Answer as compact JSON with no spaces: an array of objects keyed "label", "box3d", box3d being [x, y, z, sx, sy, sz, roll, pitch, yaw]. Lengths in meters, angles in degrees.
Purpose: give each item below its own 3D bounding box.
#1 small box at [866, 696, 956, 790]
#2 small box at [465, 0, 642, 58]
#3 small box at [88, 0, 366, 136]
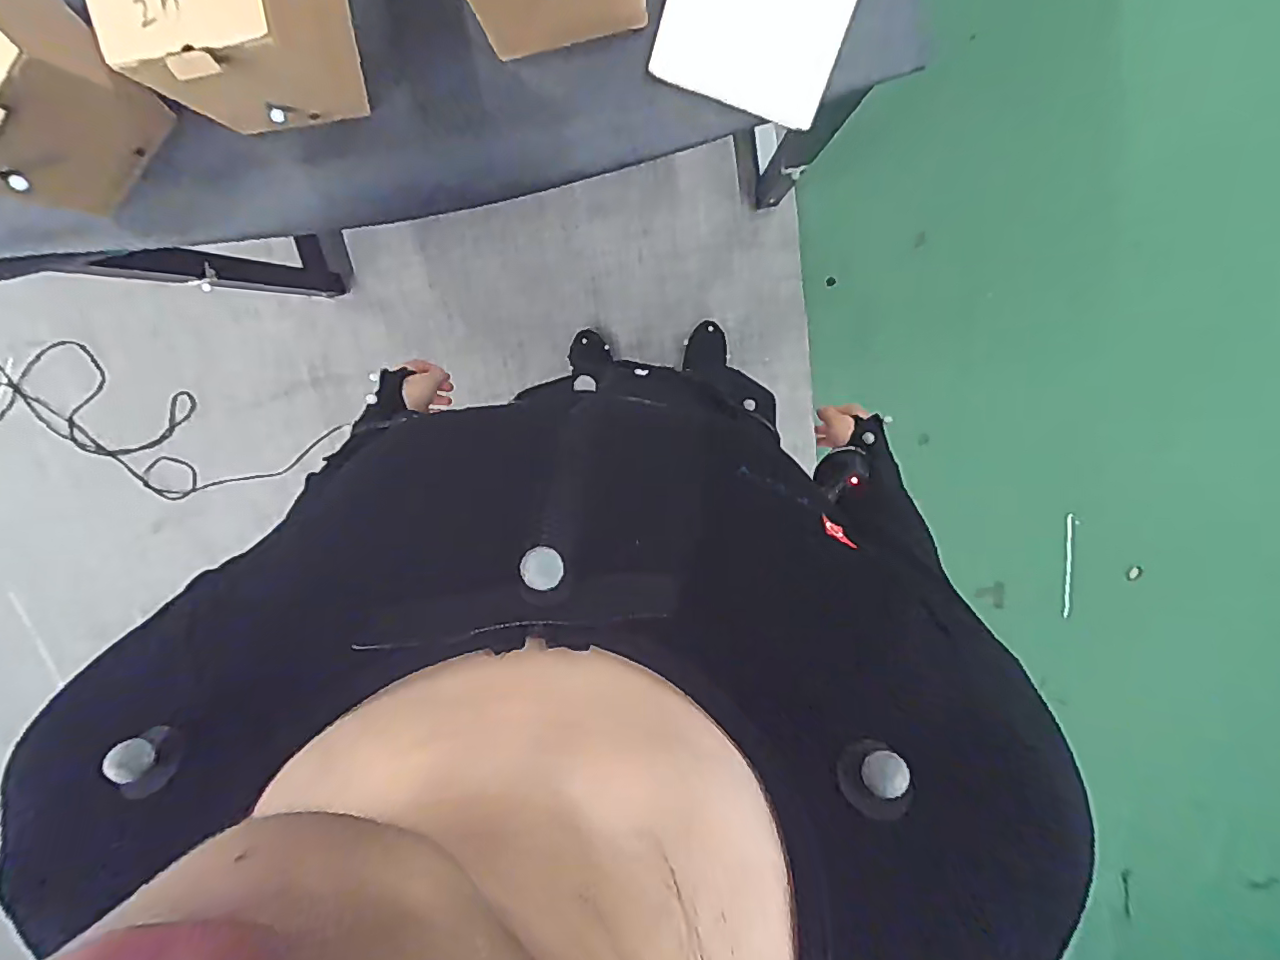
[{"label":"small box","box3d":[0.757,0.731,1.519,0.179,0.176,0.168,-9,106,6]},{"label":"small box","box3d":[-0.094,-0.555,0.522,0.179,0.176,0.168,-9,103,7]},{"label":"small box","box3d":[-0.417,-0.491,0.556,0.168,0.176,0.179,-6,104,5]}]
